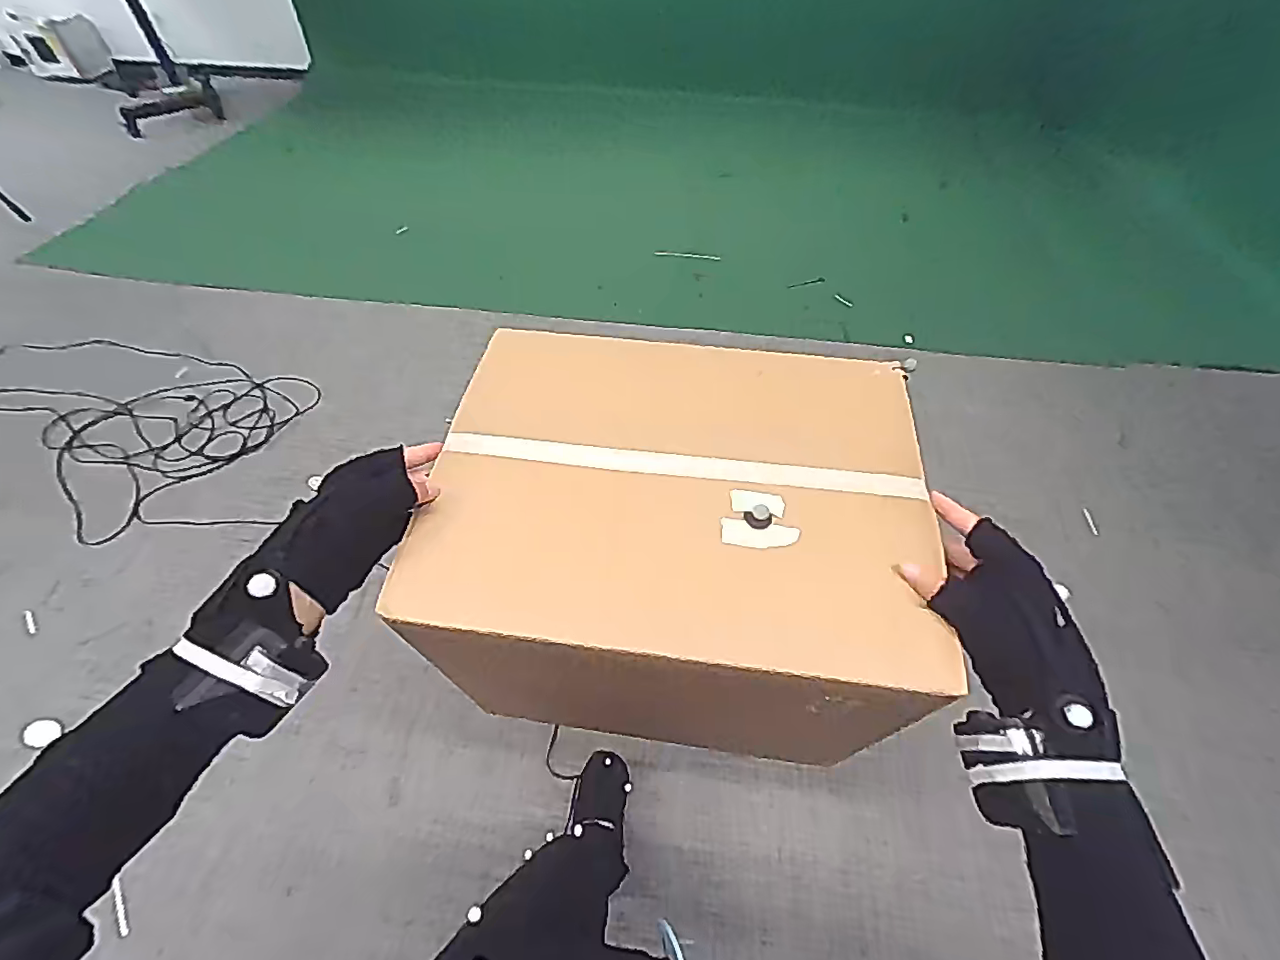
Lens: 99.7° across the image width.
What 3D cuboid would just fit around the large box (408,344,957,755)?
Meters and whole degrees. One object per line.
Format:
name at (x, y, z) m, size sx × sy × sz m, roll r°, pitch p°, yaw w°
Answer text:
large box at (0.039, 0.084, 0.590) m, size 0.408 × 0.320 × 0.320 m, roll 6°, pitch 55°, yaw 4°
